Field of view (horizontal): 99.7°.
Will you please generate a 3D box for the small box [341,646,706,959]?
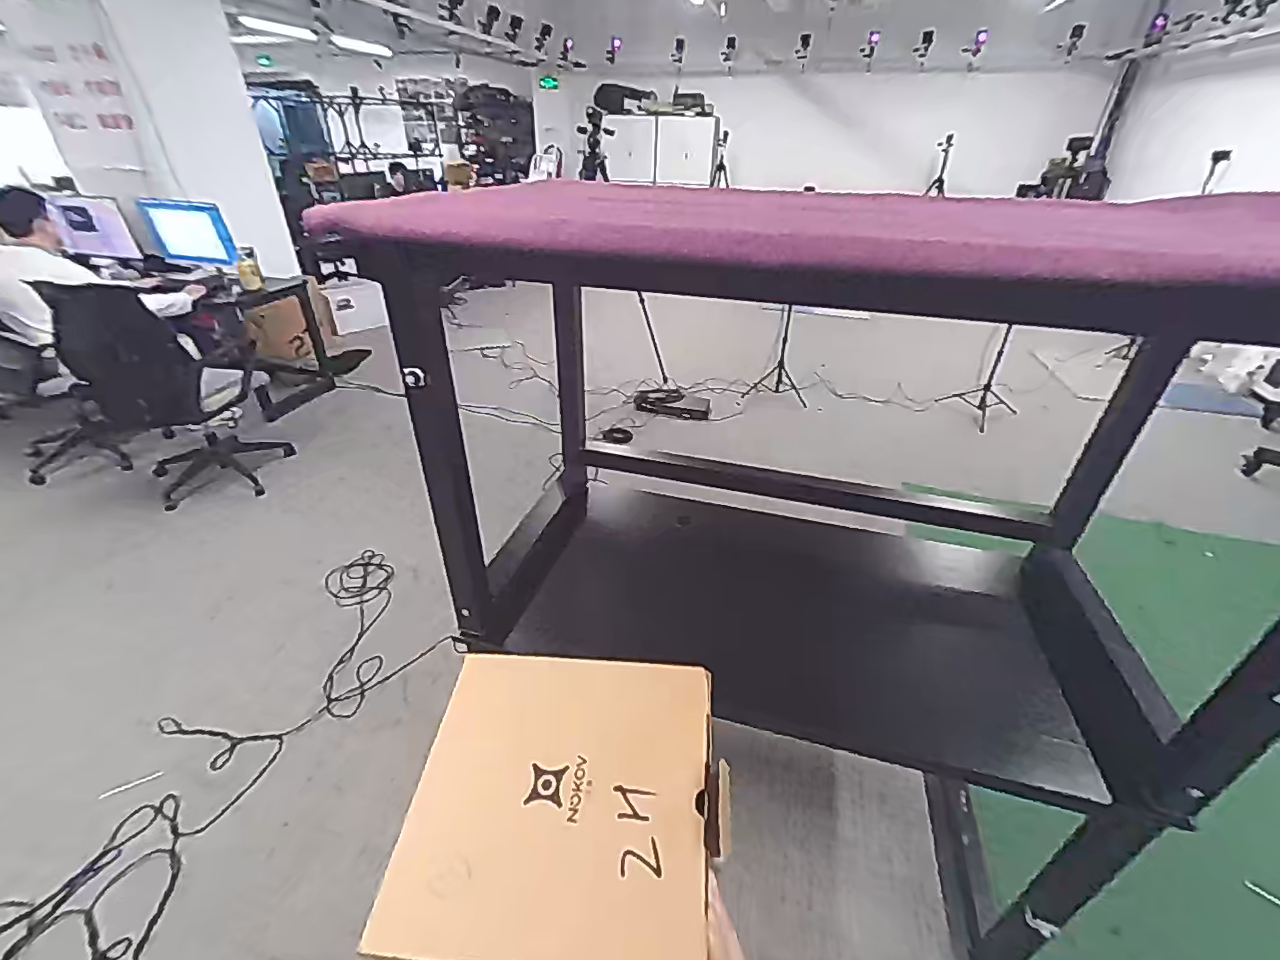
[{"bbox_3d":[-0.047,0.232,0.361,0.179,0.176,0.168,2,43,6],"label":"small box"}]
